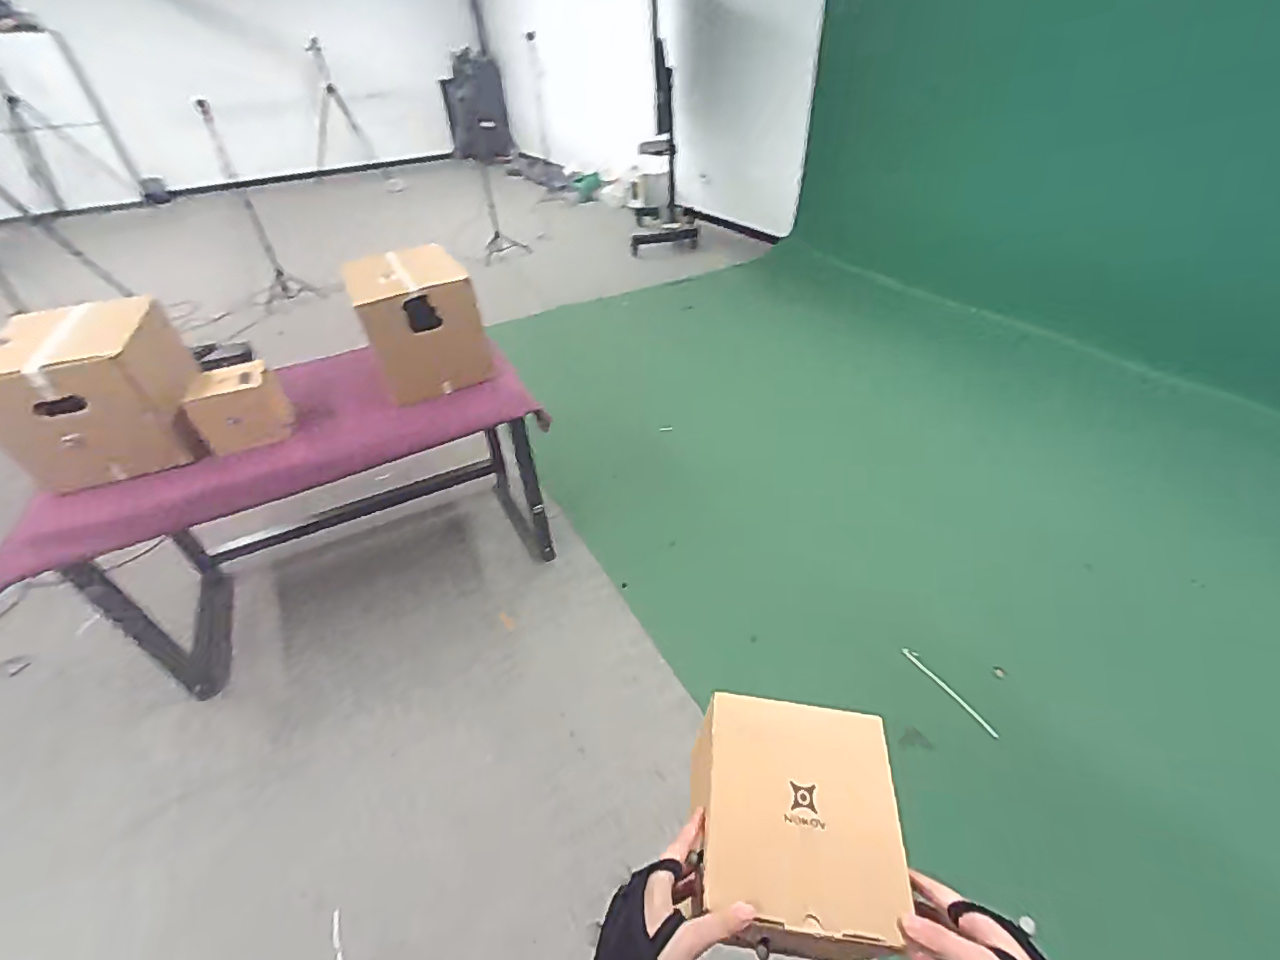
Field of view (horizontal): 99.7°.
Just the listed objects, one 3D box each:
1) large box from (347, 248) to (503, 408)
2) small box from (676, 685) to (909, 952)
[{"bbox_3d":[-0.655,-0.478,1.660,0.320,0.320,0.408,-23,44,-19],"label":"large box"},{"bbox_3d":[0.128,0.328,0.526,0.168,0.176,0.179,7,46,2],"label":"small box"}]
